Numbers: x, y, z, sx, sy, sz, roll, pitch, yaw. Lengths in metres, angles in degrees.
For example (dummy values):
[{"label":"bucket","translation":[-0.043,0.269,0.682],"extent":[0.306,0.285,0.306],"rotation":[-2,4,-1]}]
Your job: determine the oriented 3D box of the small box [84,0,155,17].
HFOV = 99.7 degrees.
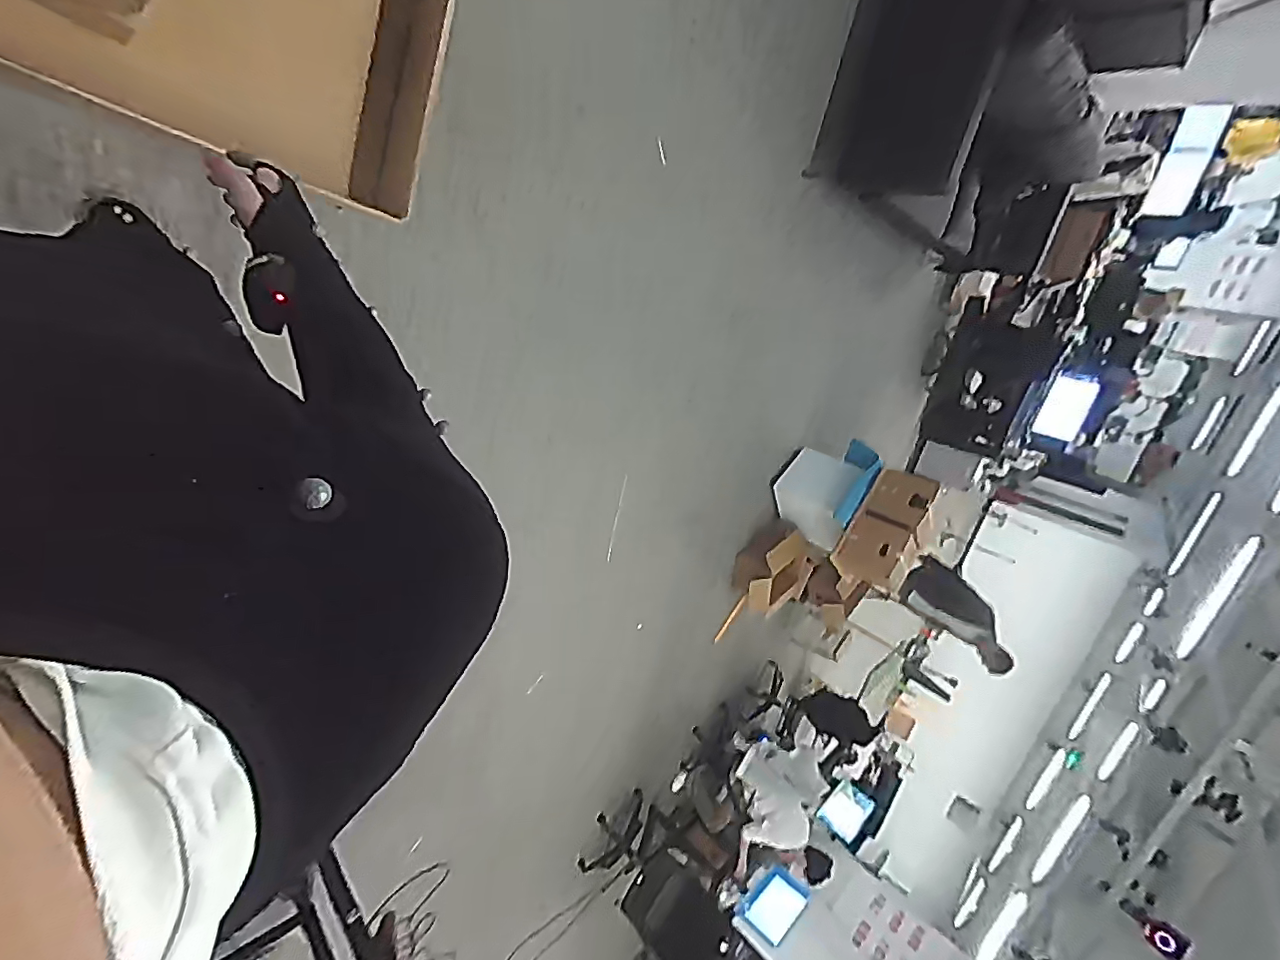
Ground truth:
[{"label":"small box","translation":[-0.591,-0.614,0.536],"extent":[0.168,0.176,0.179],"rotation":[5,110,-51]}]
